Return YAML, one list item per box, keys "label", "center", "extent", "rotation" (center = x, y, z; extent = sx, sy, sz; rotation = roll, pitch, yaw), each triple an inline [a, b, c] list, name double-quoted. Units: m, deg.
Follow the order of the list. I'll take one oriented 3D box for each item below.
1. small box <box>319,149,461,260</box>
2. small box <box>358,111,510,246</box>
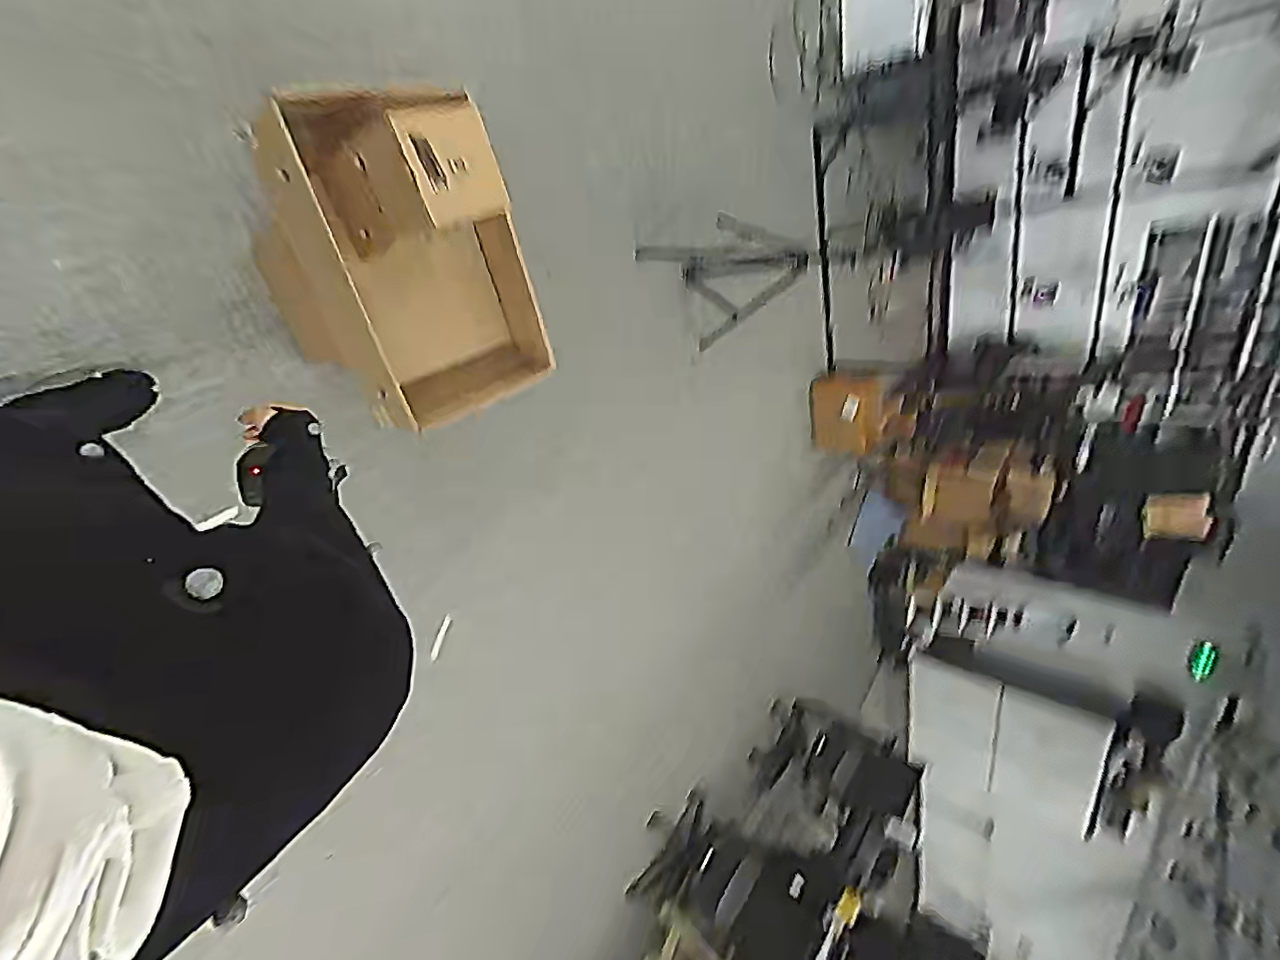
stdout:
- label: "small box"
  center: [-0.497, -0.551, 1.077]
  extent: [0.168, 0.176, 0.179]
  rotation: [-40, 125, -35]
- label: "small box"
  center: [-0.374, -0.534, 0.970]
  extent: [0.179, 0.176, 0.168]
  rotation: [-40, 125, -37]
